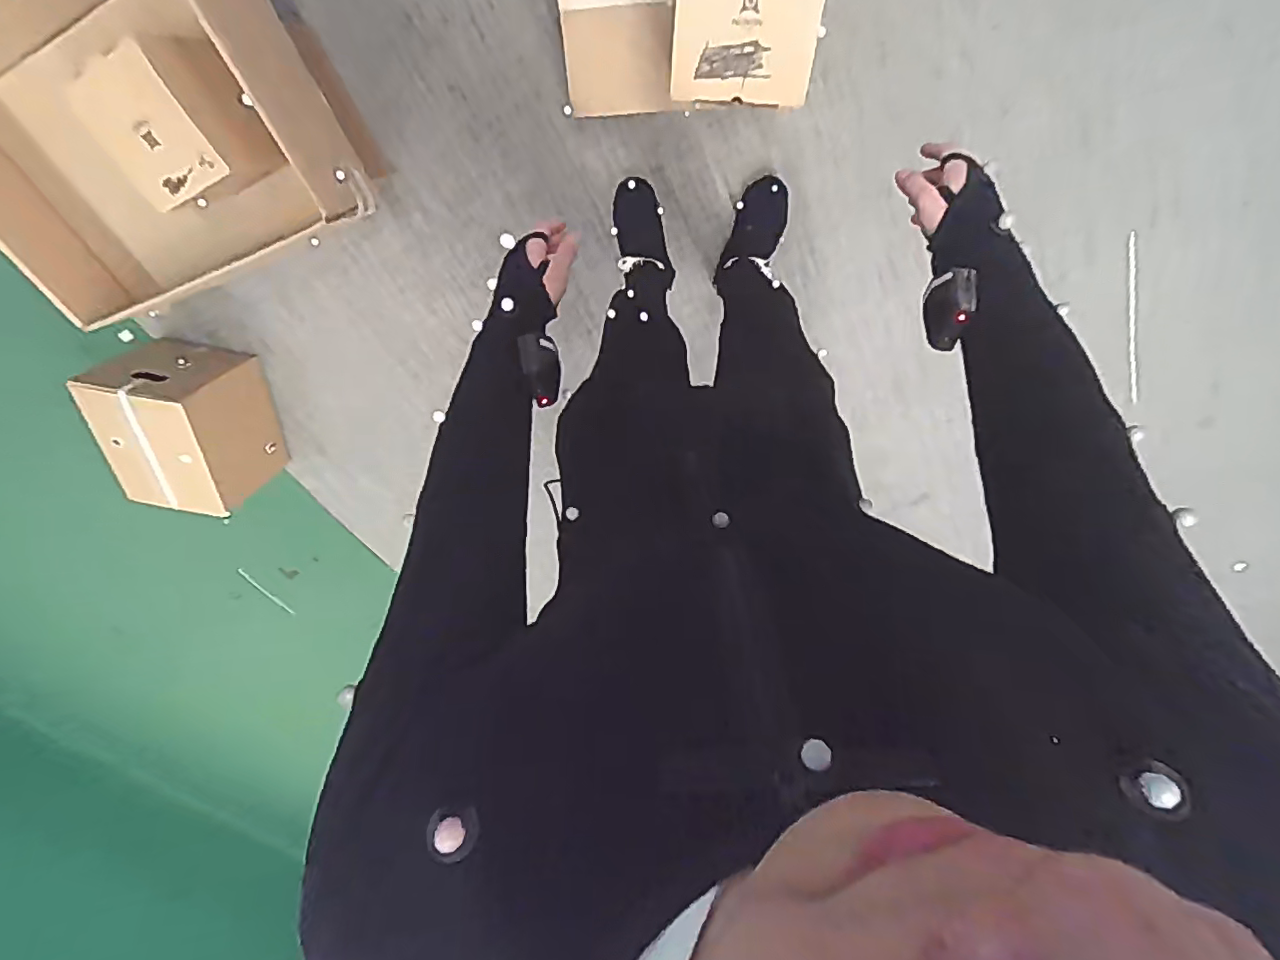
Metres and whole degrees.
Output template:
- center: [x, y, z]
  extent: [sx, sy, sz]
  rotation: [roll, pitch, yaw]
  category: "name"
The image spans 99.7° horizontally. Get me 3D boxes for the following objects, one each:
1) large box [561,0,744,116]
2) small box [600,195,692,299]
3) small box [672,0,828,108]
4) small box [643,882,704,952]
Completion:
- center: [0.086, -0.861, 0.964]
  extent: [0.408, 0.320, 0.320]
  rotation: [1, 126, 7]
  category: "large box"
- center: [0.020, -0.571, 1.314]
  extent: [0.168, 0.176, 0.179]
  rotation: [23, 123, -2]
  category: "small box"
- center: [0.134, -0.574, 0.661]
  extent: [0.168, 0.176, 0.179]
  rotation: [6, 129, 3]
  category: "small box"
- center: [0.130, 1.629, 2.017]
  extent: [0.168, 0.176, 0.179]
  rotation: [-24, 120, 23]
  category: "small box"
